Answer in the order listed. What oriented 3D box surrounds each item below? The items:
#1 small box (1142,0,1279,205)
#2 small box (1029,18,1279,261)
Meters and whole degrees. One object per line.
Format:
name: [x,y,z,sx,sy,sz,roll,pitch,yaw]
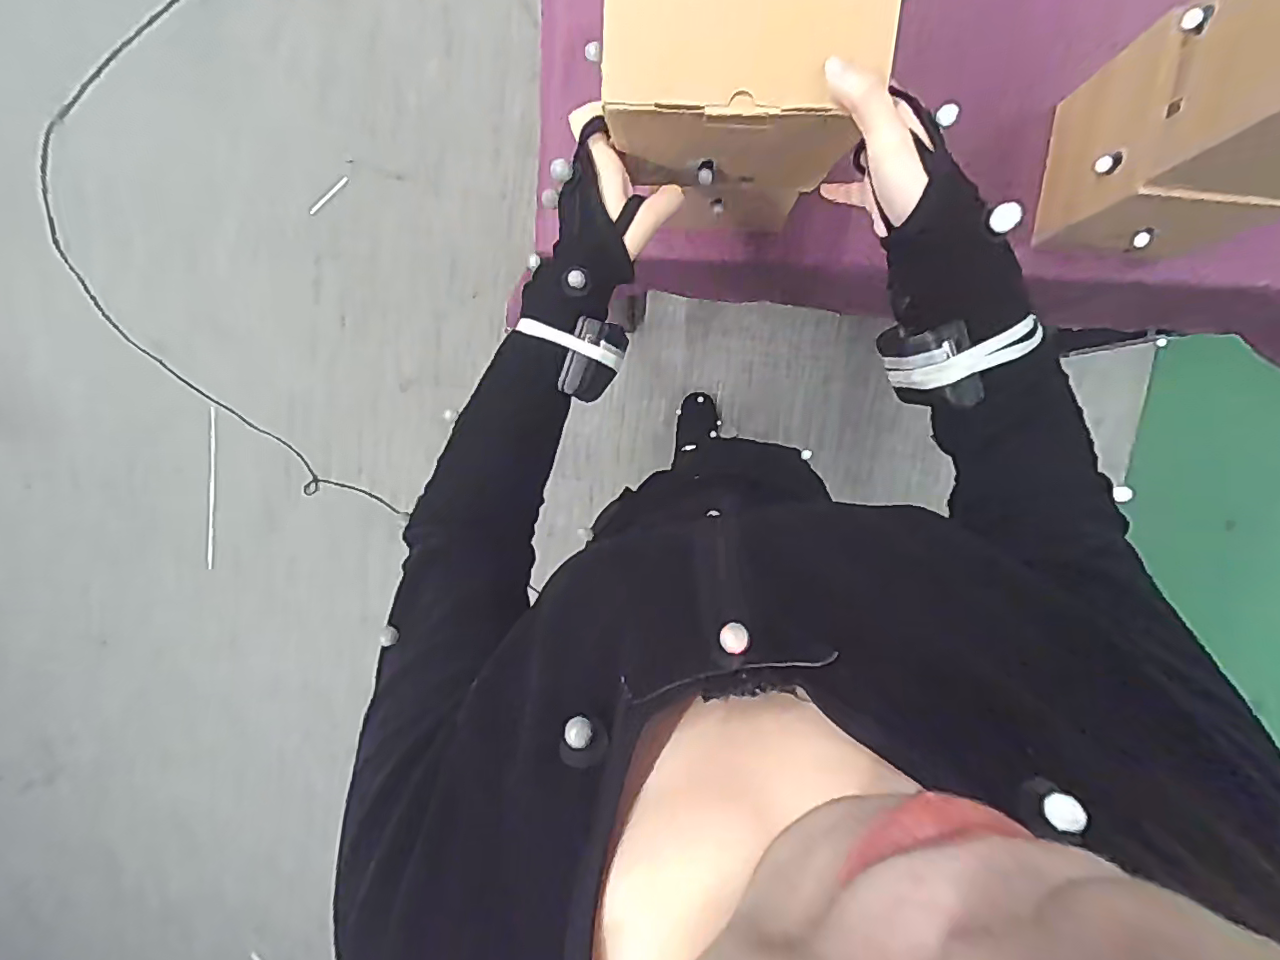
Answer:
small box: [0.584,-0.350,0.449,0.179,0.176,0.168,8,96,2]
small box: [0.586,-0.364,0.613,0.168,0.176,0.179,7,96,2]
